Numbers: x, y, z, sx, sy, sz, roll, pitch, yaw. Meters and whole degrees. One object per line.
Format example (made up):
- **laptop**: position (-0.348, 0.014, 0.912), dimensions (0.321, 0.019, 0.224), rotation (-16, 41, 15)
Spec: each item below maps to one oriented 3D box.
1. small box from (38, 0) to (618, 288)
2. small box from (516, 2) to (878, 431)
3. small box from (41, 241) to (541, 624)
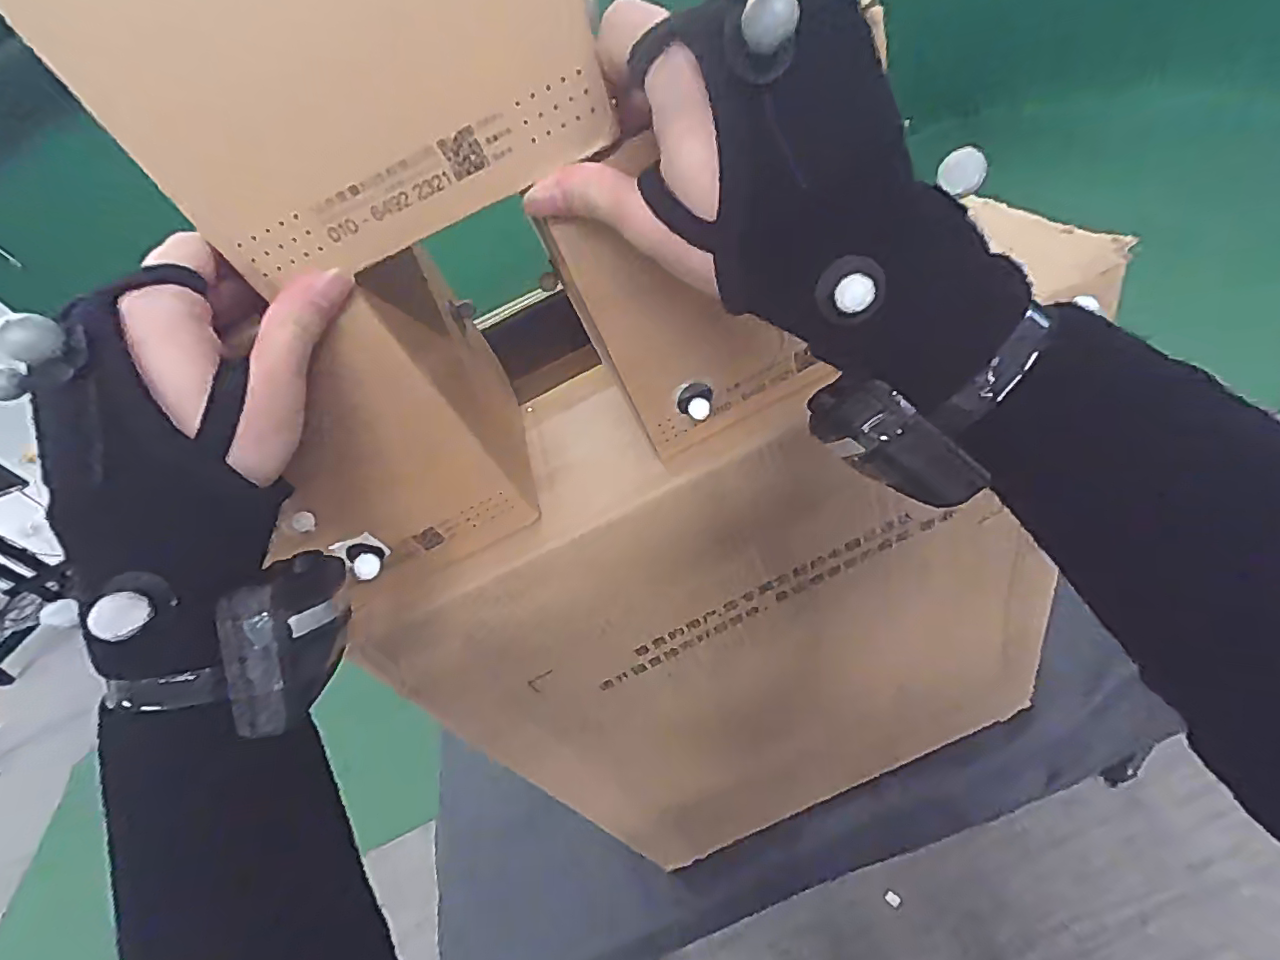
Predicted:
- **small box**: position (-0.125, -0.211, 0.234), dimensions (0.168, 0.176, 0.179), rotation (-25, 41, 4)
- **small box**: position (0.028, -0.155, 0.342), dimensions (0.168, 0.176, 0.179), rotation (-28, 41, 0)
- **small box**: position (-0.183, -0.043, 0.347), dimensions (0.168, 0.176, 0.179), rotation (-28, 42, 2)
